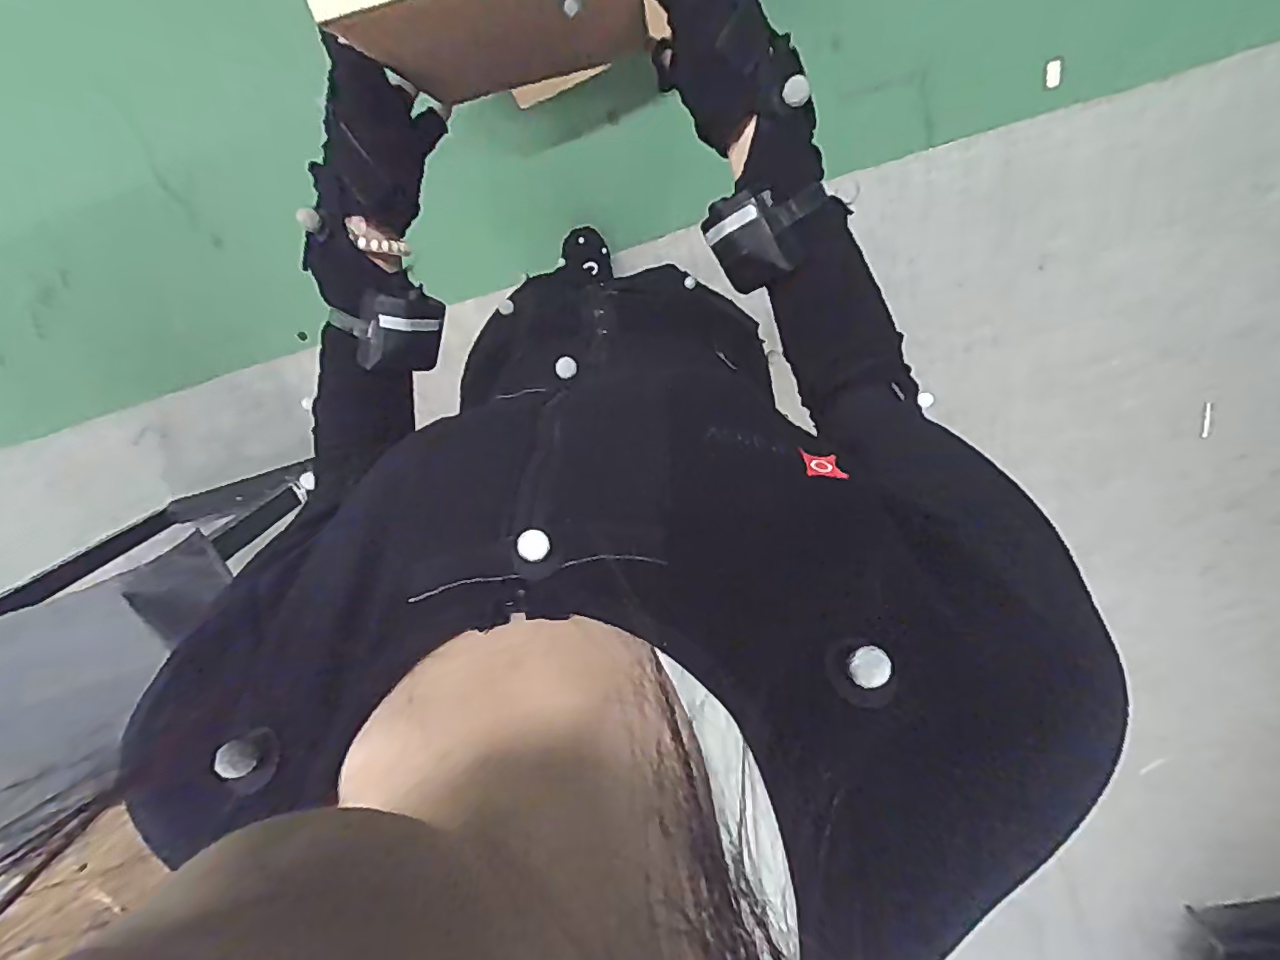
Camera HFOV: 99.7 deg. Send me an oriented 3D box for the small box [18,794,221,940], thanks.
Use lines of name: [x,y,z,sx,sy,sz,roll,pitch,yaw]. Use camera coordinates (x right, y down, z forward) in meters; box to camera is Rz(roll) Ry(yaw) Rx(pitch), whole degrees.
small box: [-0.915,0.704,0.979,0.179,0.176,0.168,-16,112,7]

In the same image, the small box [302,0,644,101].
small box: [-0.100,-0.358,0.321,0.179,0.176,0.168,-10,111,7]

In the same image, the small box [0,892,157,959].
small box: [-0.925,0.784,0.835,0.179,0.176,0.168,-18,113,7]
